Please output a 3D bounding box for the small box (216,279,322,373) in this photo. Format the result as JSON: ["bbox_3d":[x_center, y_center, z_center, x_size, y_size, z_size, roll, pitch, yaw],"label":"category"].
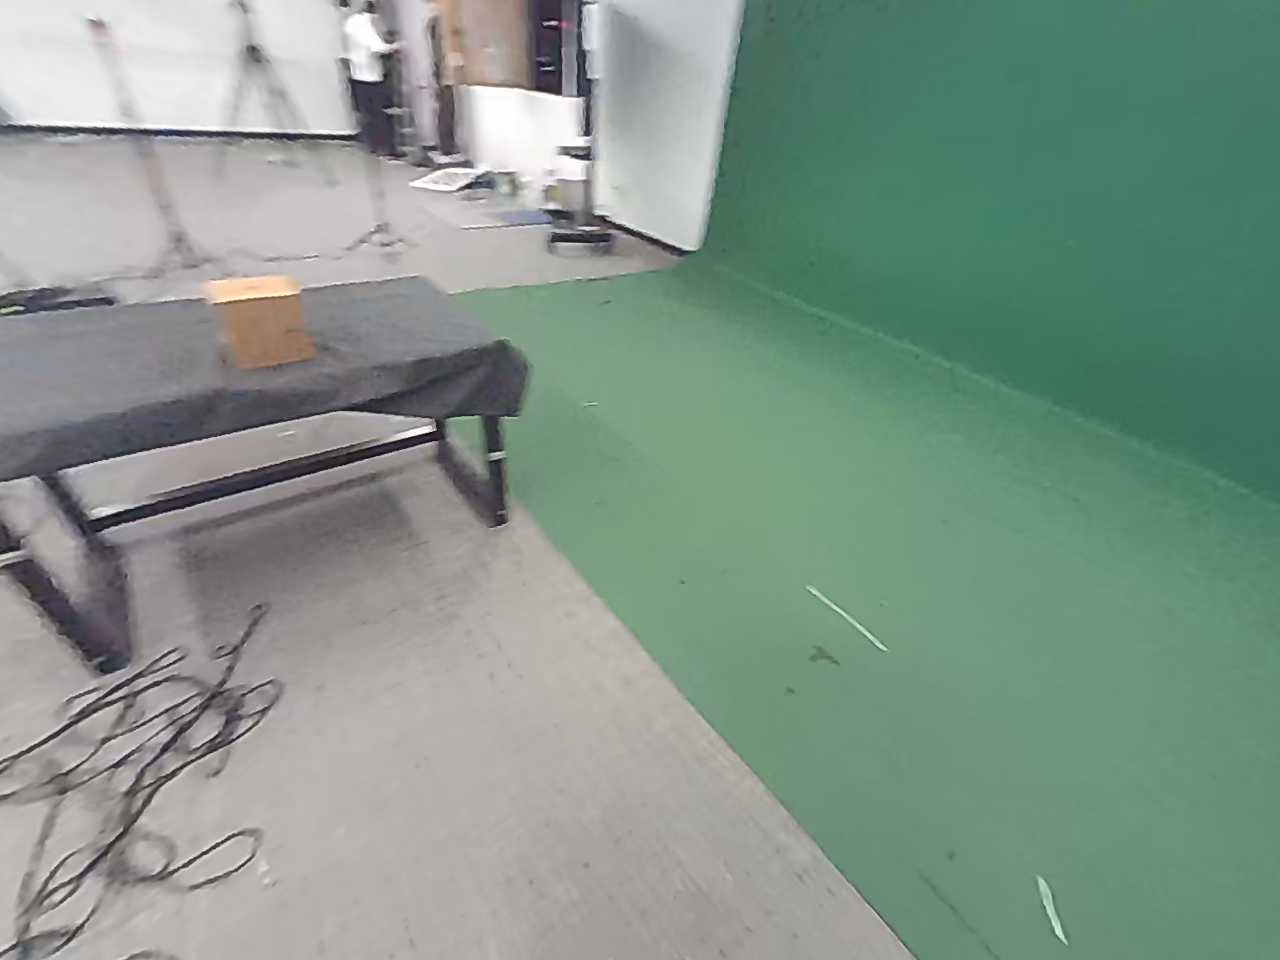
[{"bbox_3d":[-0.923,-0.388,1.358,0.179,0.176,0.168,-22,44,-32],"label":"small box"}]
